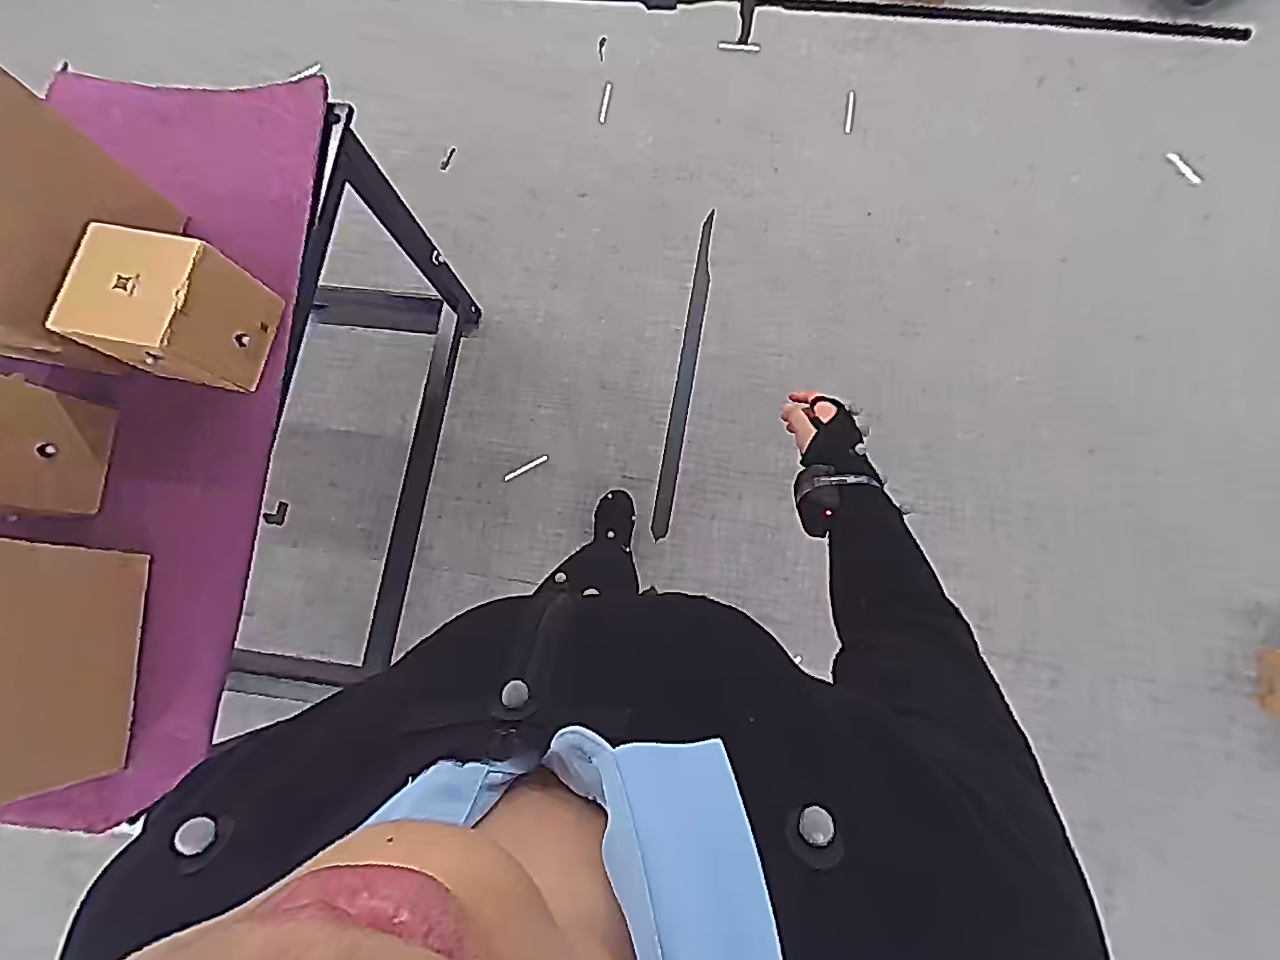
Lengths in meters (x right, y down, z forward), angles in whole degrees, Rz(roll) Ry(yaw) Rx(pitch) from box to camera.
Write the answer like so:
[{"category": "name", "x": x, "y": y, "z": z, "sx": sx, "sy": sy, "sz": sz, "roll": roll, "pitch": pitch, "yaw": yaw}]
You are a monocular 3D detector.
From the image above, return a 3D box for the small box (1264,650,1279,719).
[{"category": "small box", "x": 1.641, "y": 0.499, "z": 1.272, "sx": 0.179, "sy": 0.176, "sz": 0.168, "roll": 6, "pitch": 79, "yaw": 4}]
